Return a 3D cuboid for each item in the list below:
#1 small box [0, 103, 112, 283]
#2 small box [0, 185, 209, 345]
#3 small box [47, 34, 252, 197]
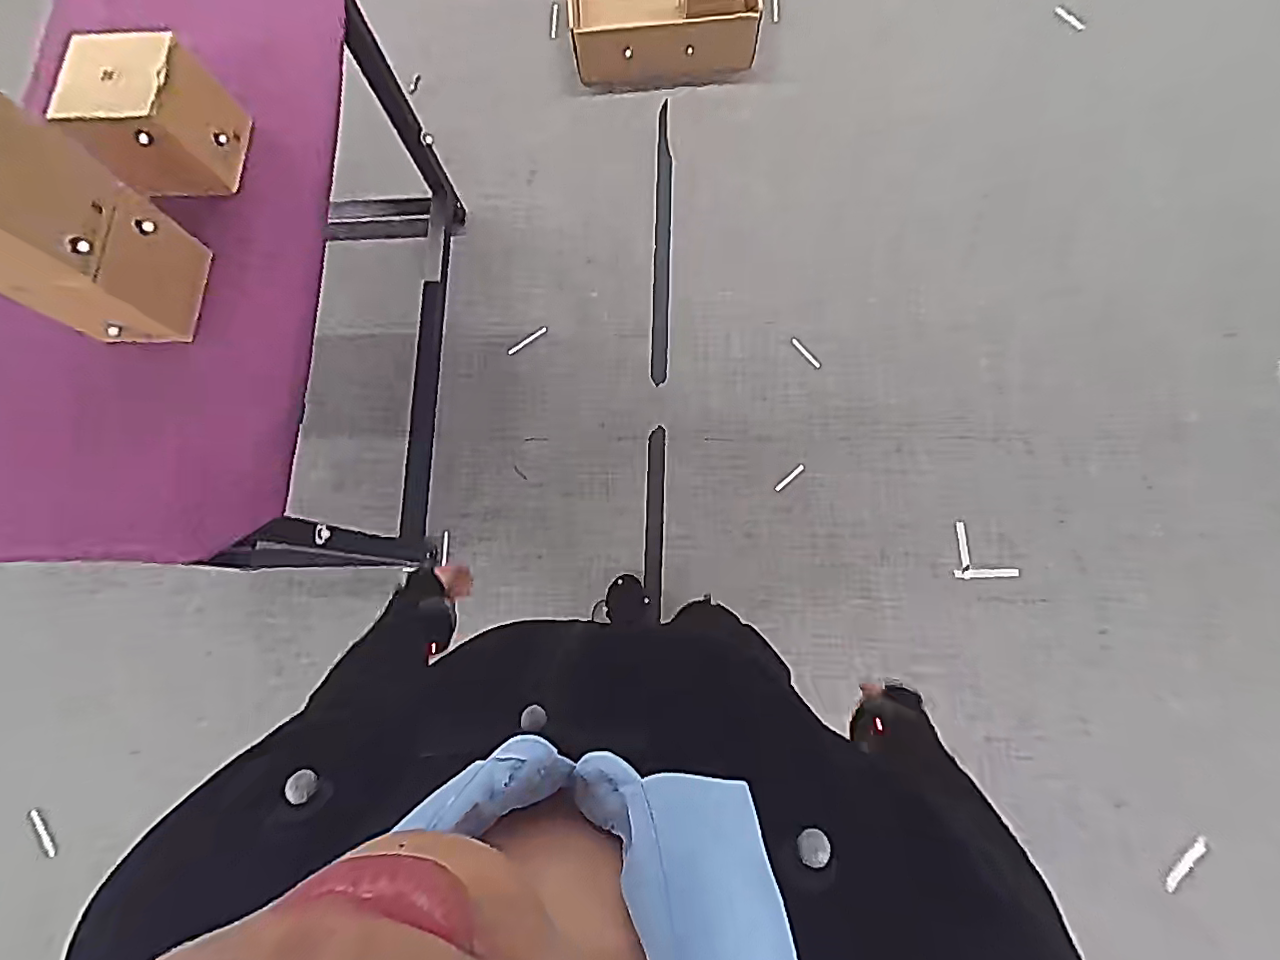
[{"bbox_3d":[-0.854,-0.372,0.699,0.179,0.176,0.168,-1,77,3],"label":"small box"},{"bbox_3d":[-0.839,-0.335,0.859,0.168,0.176,0.179,1,77,3],"label":"small box"},{"bbox_3d":[-0.819,-0.609,0.922,0.179,0.176,0.168,1,77,3],"label":"small box"}]
